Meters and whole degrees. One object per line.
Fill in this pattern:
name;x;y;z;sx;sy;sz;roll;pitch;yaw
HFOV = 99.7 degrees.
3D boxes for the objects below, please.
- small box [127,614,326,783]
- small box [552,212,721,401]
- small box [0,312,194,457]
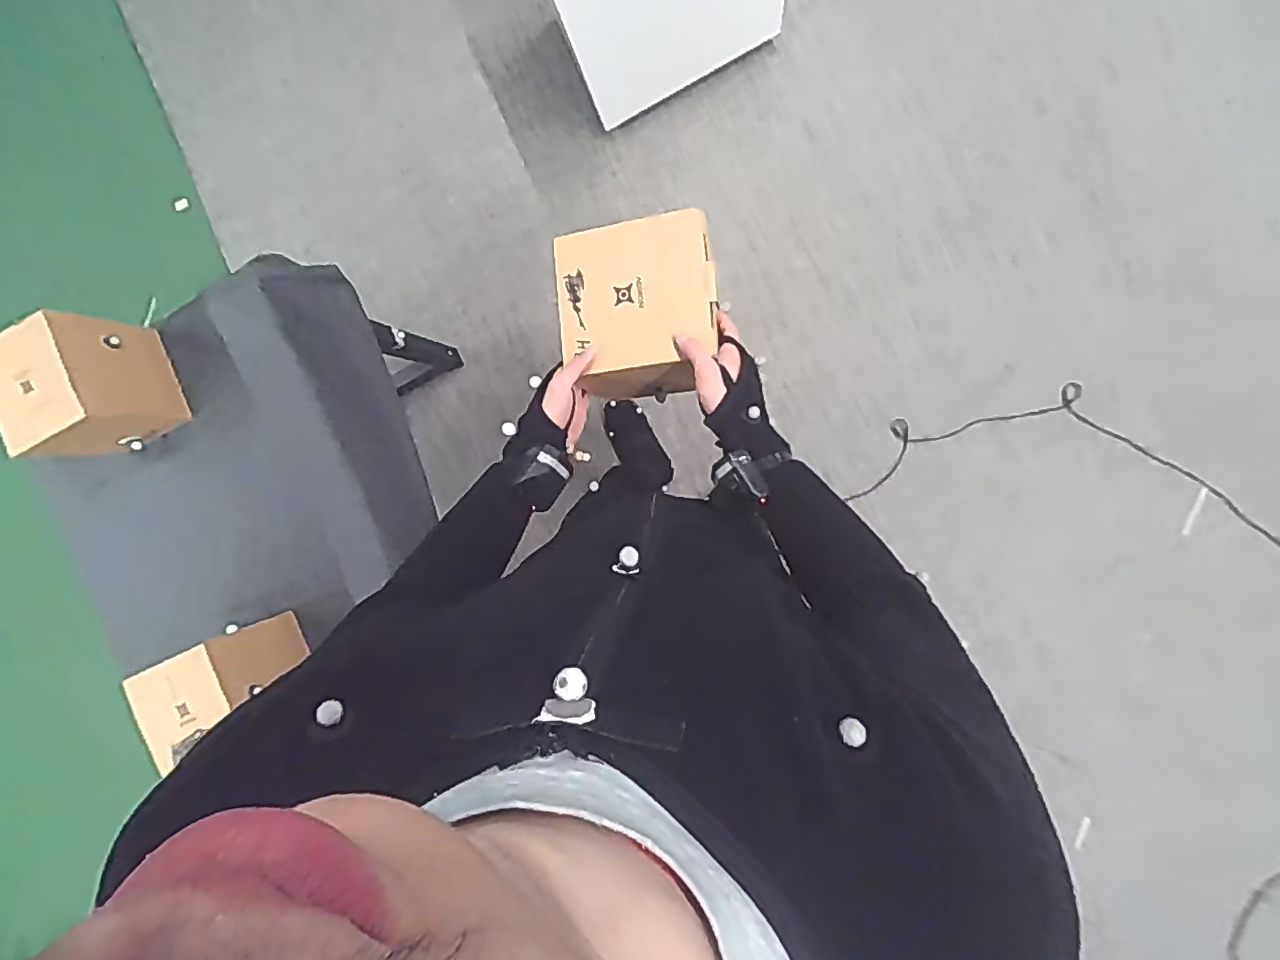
small box;-0.660;0.346;0.884;0.168;0.176;0.179;-24;88;10
small box;0.007;-0.199;0.672;0.179;0.176;0.168;-5;87;13
small box;-0.905;-0.148;0.896;0.168;0.176;0.179;-23;91;12
